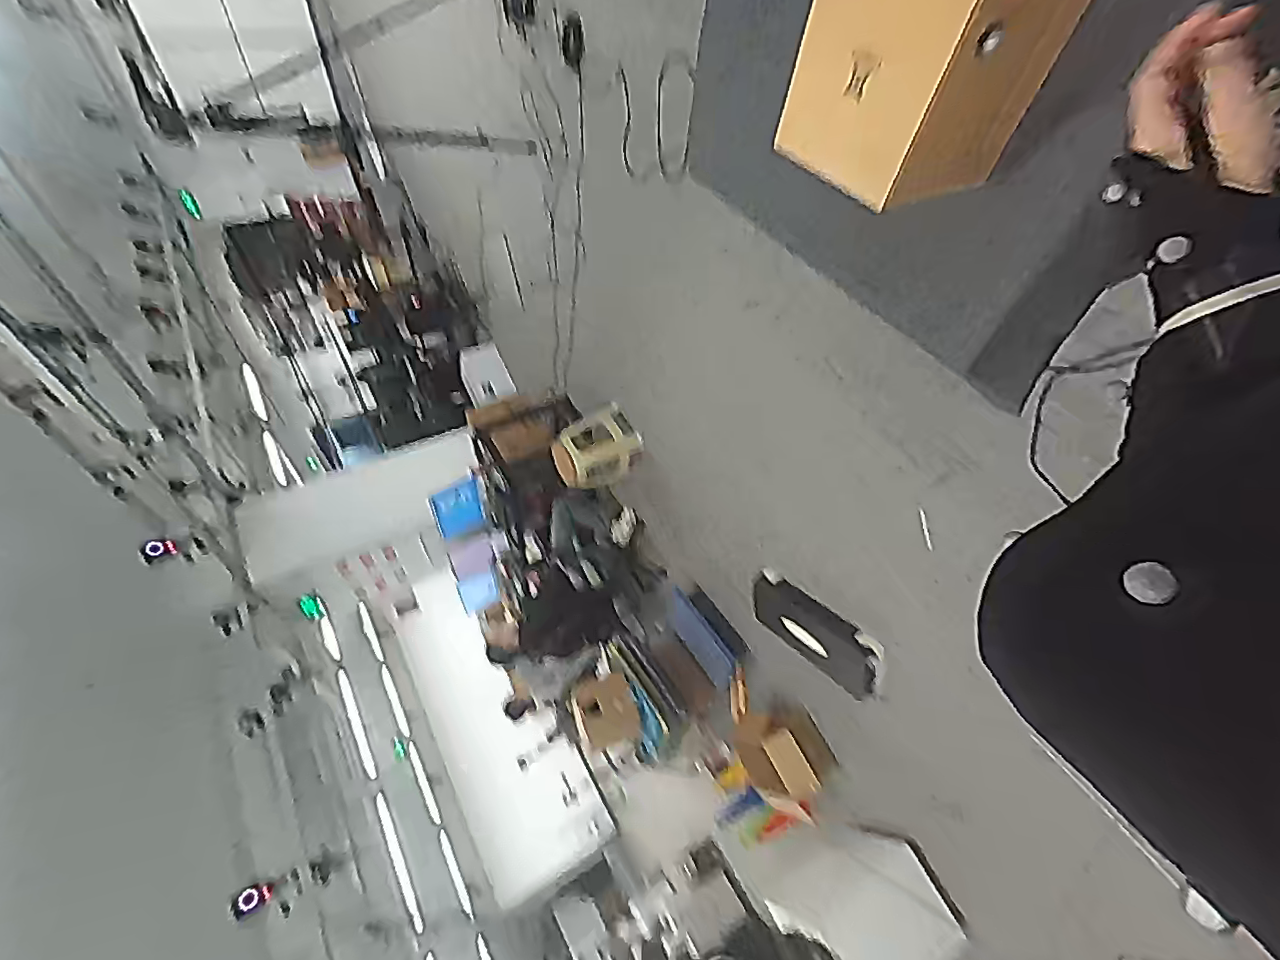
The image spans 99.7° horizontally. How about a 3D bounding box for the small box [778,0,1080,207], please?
[{"bbox_3d":[0.272,-0.404,0.533,0.168,0.176,0.179,53,152,29],"label":"small box"}]
